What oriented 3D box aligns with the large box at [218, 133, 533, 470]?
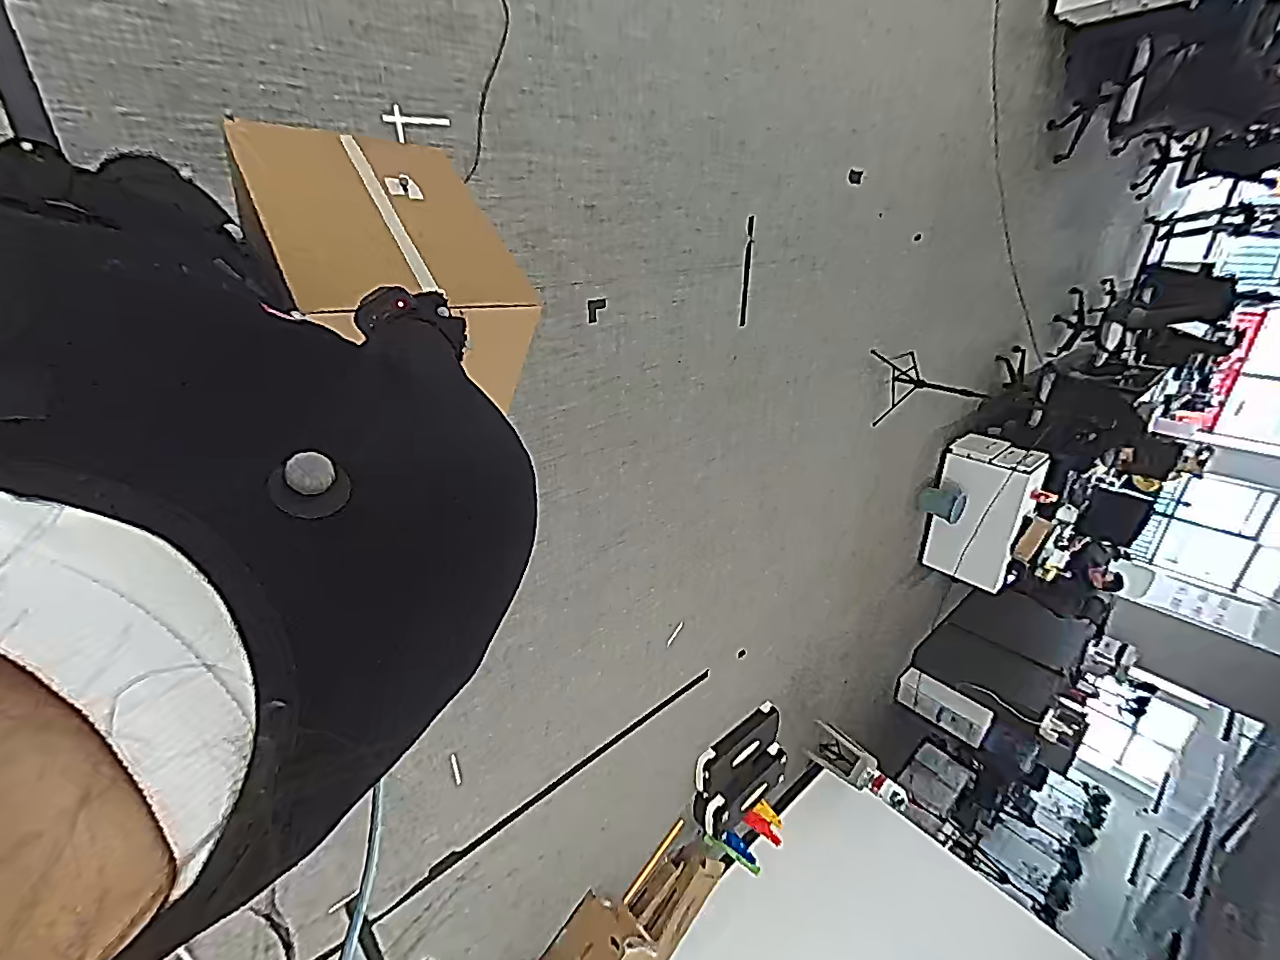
[{"bbox_3d":[-0.433,-0.285,0.890,0.320,0.408,0.320,-16,152,-39],"label":"large box"}]
